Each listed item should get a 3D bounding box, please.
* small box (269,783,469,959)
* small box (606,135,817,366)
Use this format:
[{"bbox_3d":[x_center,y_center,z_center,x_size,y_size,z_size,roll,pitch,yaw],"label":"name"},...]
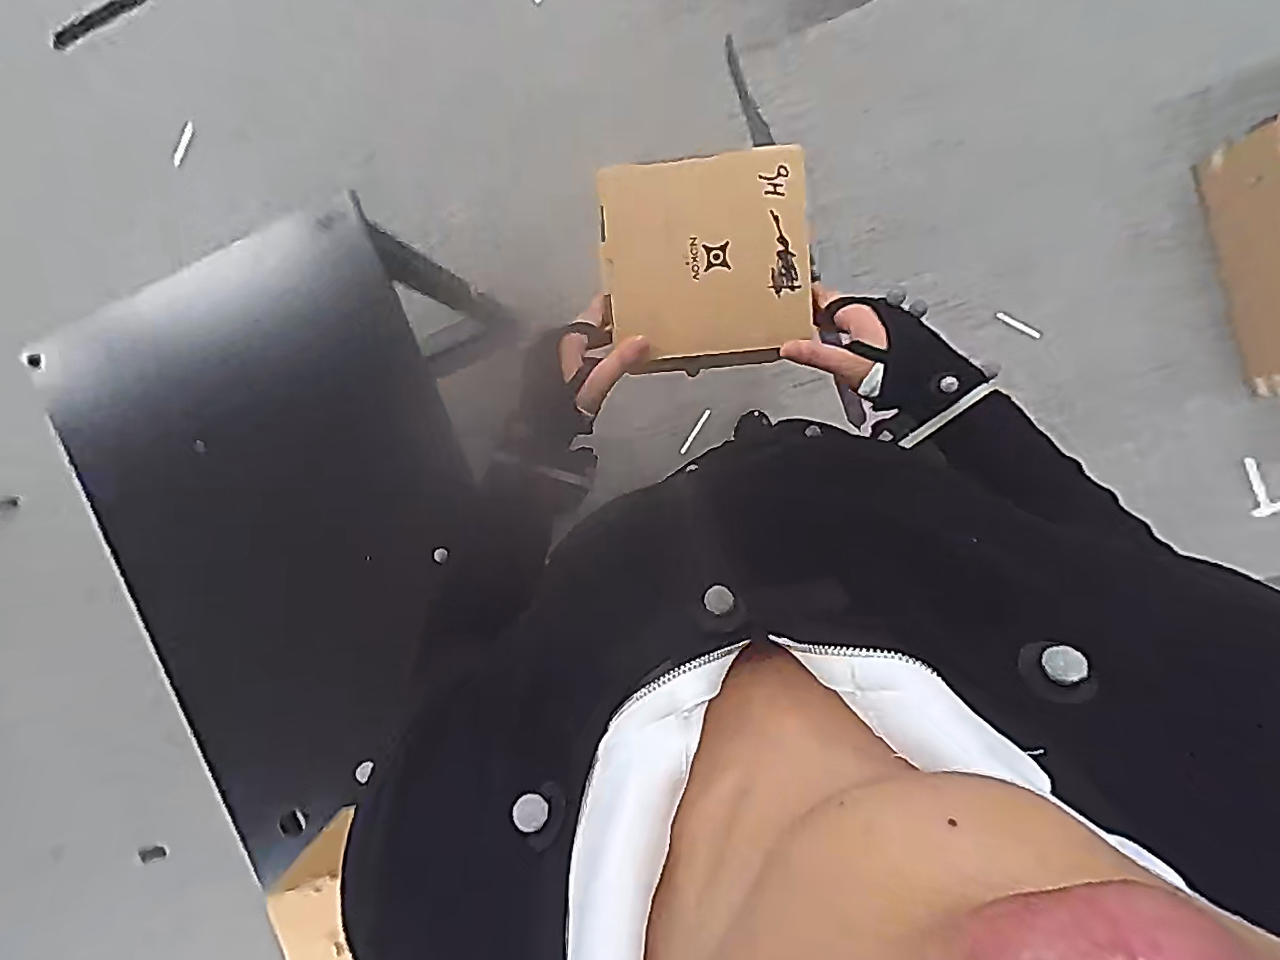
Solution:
[{"bbox_3d":[-0.376,0.586,0.785,0.168,0.176,0.179,-20,93,7],"label":"small box"},{"bbox_3d":[0.068,-0.211,0.546,0.179,0.176,0.168,-4,96,4],"label":"small box"}]
